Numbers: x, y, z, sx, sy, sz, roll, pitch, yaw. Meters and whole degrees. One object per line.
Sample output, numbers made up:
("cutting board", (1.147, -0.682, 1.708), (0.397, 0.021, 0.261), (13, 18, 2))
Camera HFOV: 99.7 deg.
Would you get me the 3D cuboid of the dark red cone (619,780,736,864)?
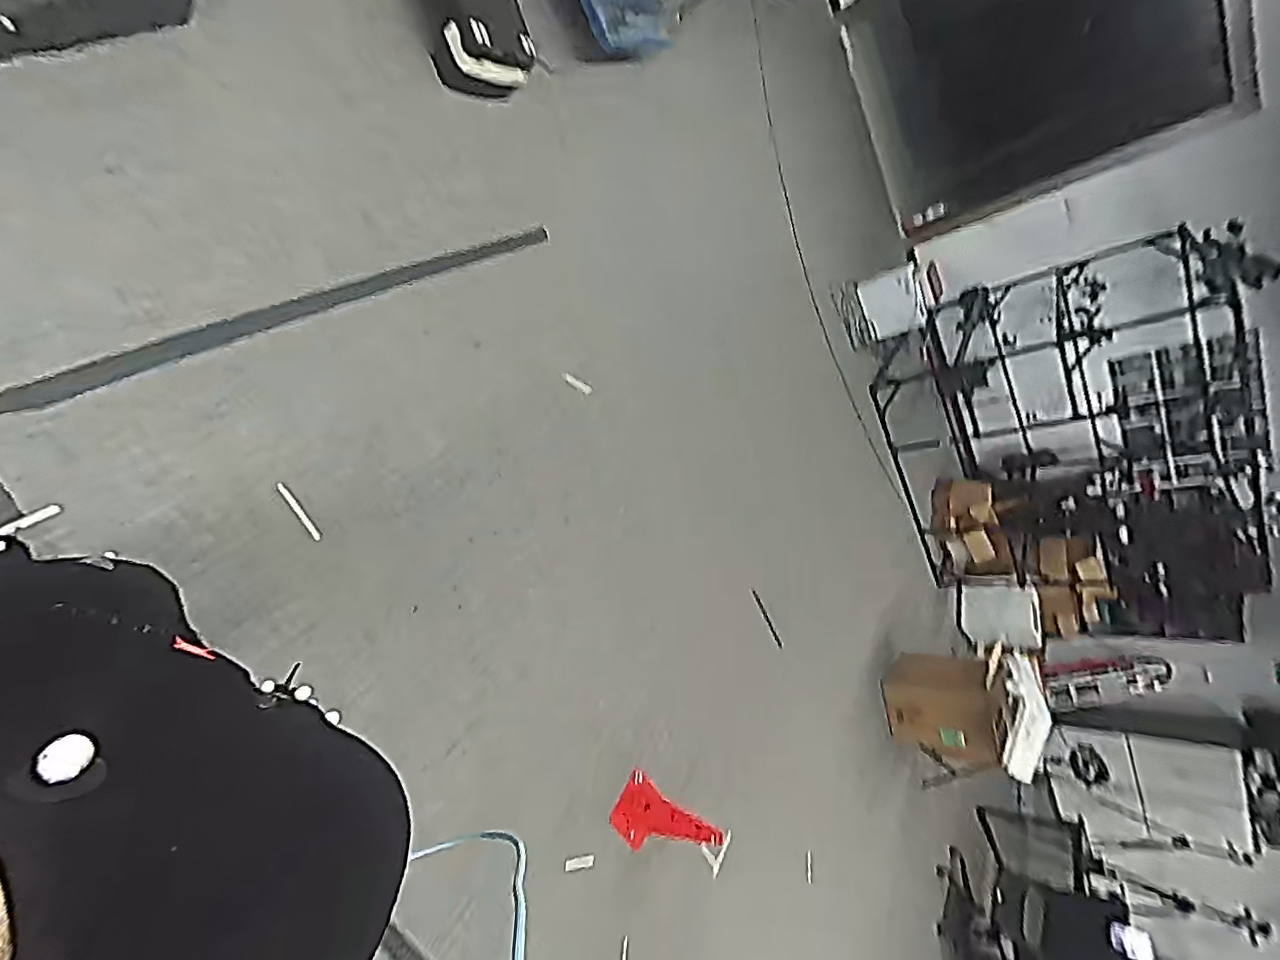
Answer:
("dark red cone", (0.135, 1.151, 1.749), (0.202, 0.394, 0.201), (58, 47, -22))
